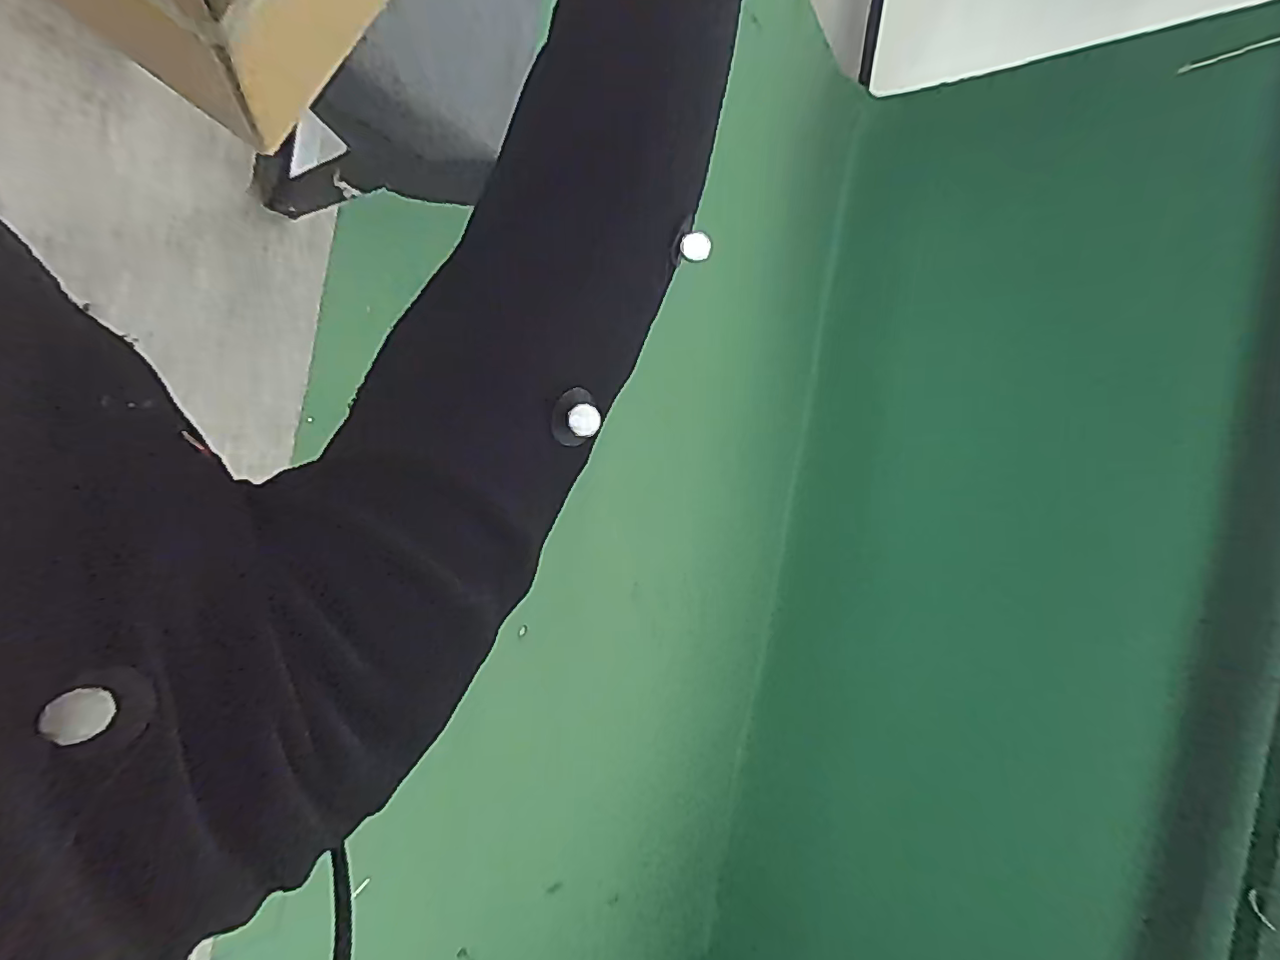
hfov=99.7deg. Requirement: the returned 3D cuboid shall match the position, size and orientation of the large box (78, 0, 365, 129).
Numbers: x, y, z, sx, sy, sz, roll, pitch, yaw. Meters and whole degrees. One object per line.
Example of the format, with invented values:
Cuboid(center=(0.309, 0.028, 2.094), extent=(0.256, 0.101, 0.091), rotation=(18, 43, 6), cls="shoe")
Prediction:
Cuboid(center=(-0.267, -0.437, 0.177), extent=(0.408, 0.320, 0.320), rotation=(31, 84, -29), cls="large box")
